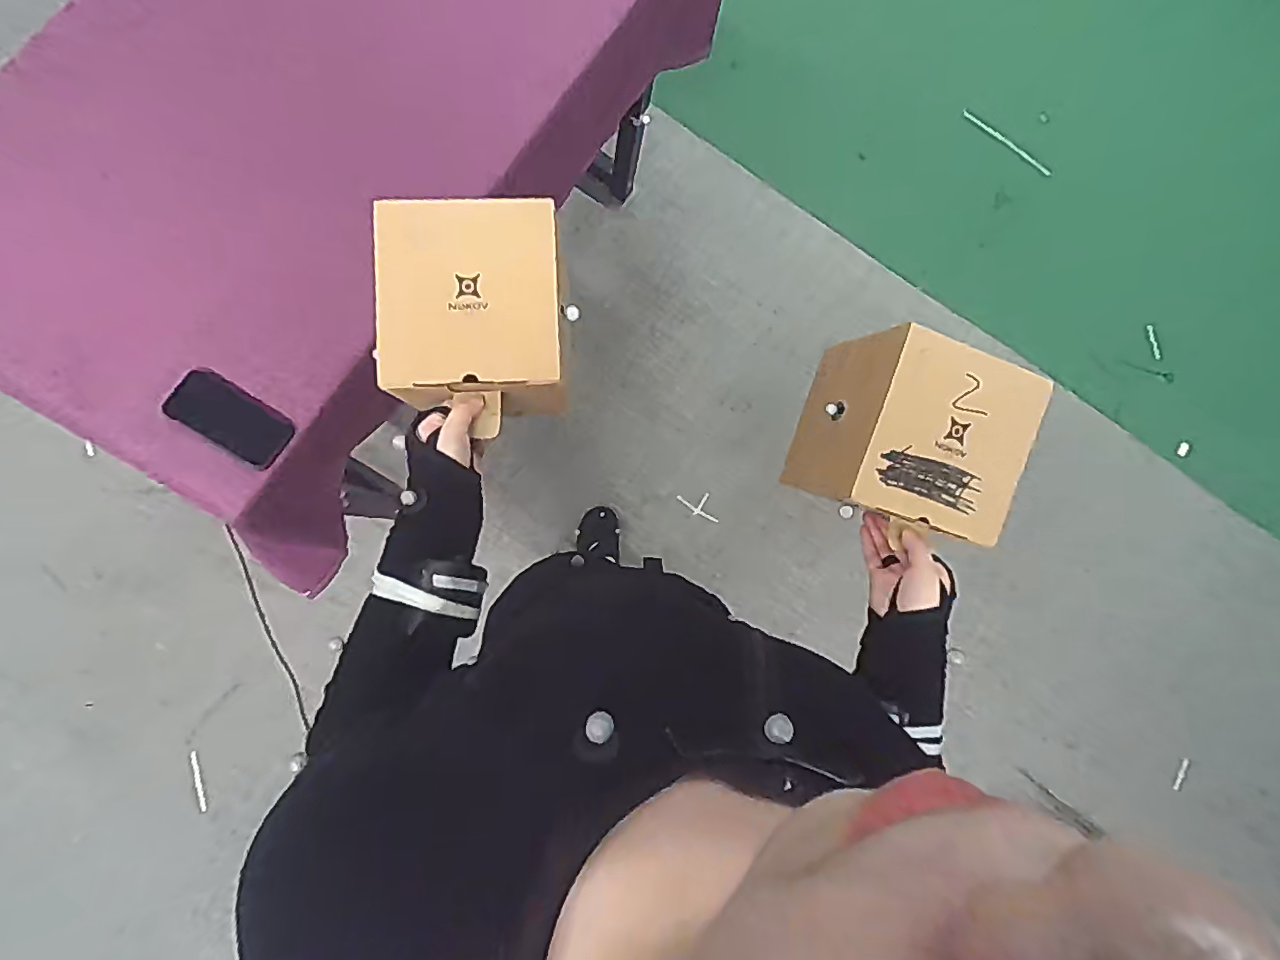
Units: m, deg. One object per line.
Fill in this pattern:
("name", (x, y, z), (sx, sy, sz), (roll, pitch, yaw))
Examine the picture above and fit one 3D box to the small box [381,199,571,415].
("small box", (-0.163, -0.173, 0.582), (0.168, 0.176, 0.179), (-2, 88, -4))
